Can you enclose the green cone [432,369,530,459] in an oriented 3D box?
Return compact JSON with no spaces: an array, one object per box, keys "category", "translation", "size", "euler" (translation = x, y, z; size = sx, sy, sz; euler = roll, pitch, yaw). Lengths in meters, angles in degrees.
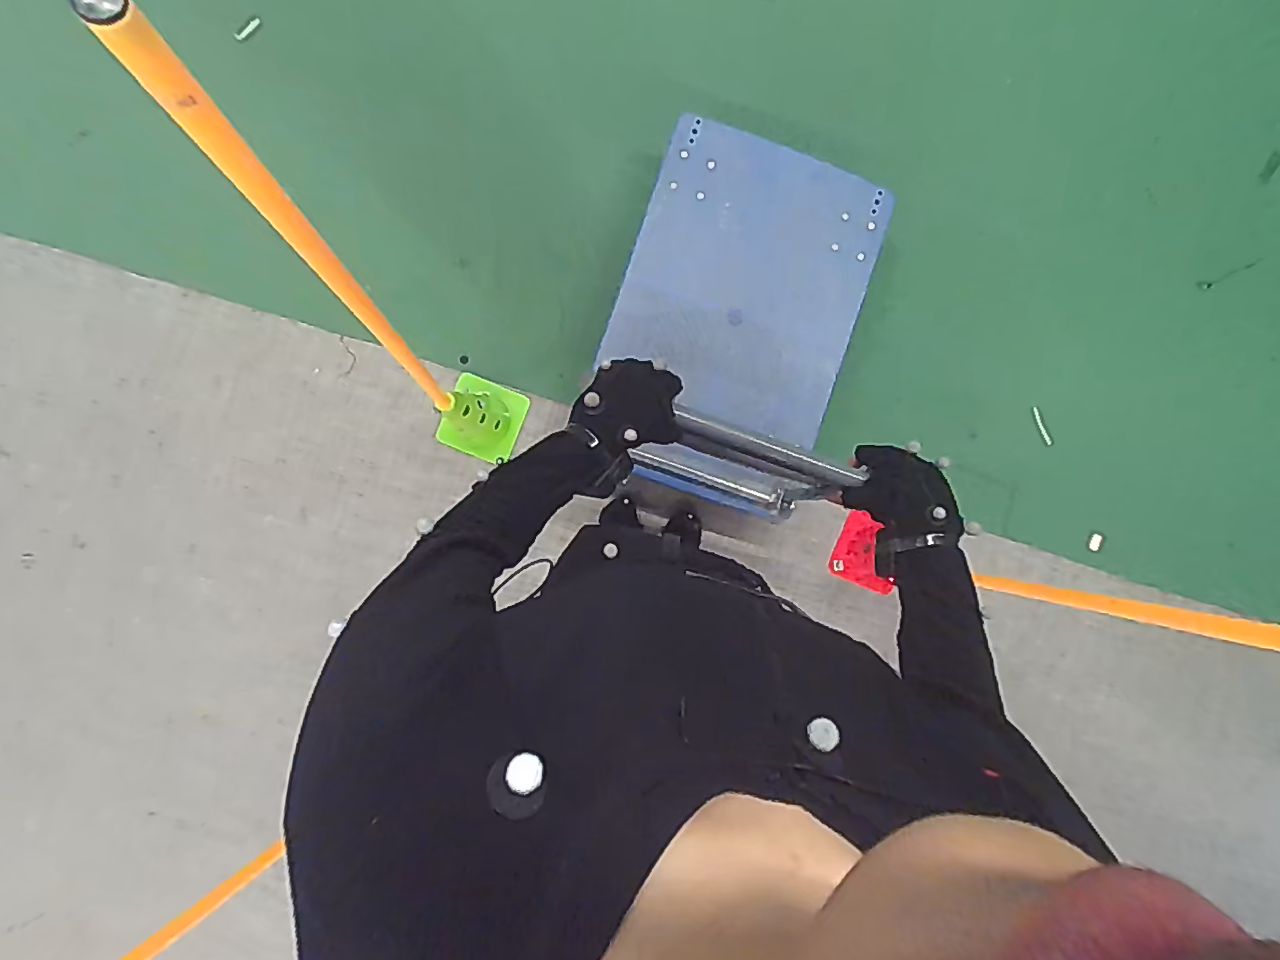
[{"category":"green cone","translation":[-0.407,-0.179,1.277],"size":[0.202,0.368,0.200],"euler":[22,88,-3]}]
